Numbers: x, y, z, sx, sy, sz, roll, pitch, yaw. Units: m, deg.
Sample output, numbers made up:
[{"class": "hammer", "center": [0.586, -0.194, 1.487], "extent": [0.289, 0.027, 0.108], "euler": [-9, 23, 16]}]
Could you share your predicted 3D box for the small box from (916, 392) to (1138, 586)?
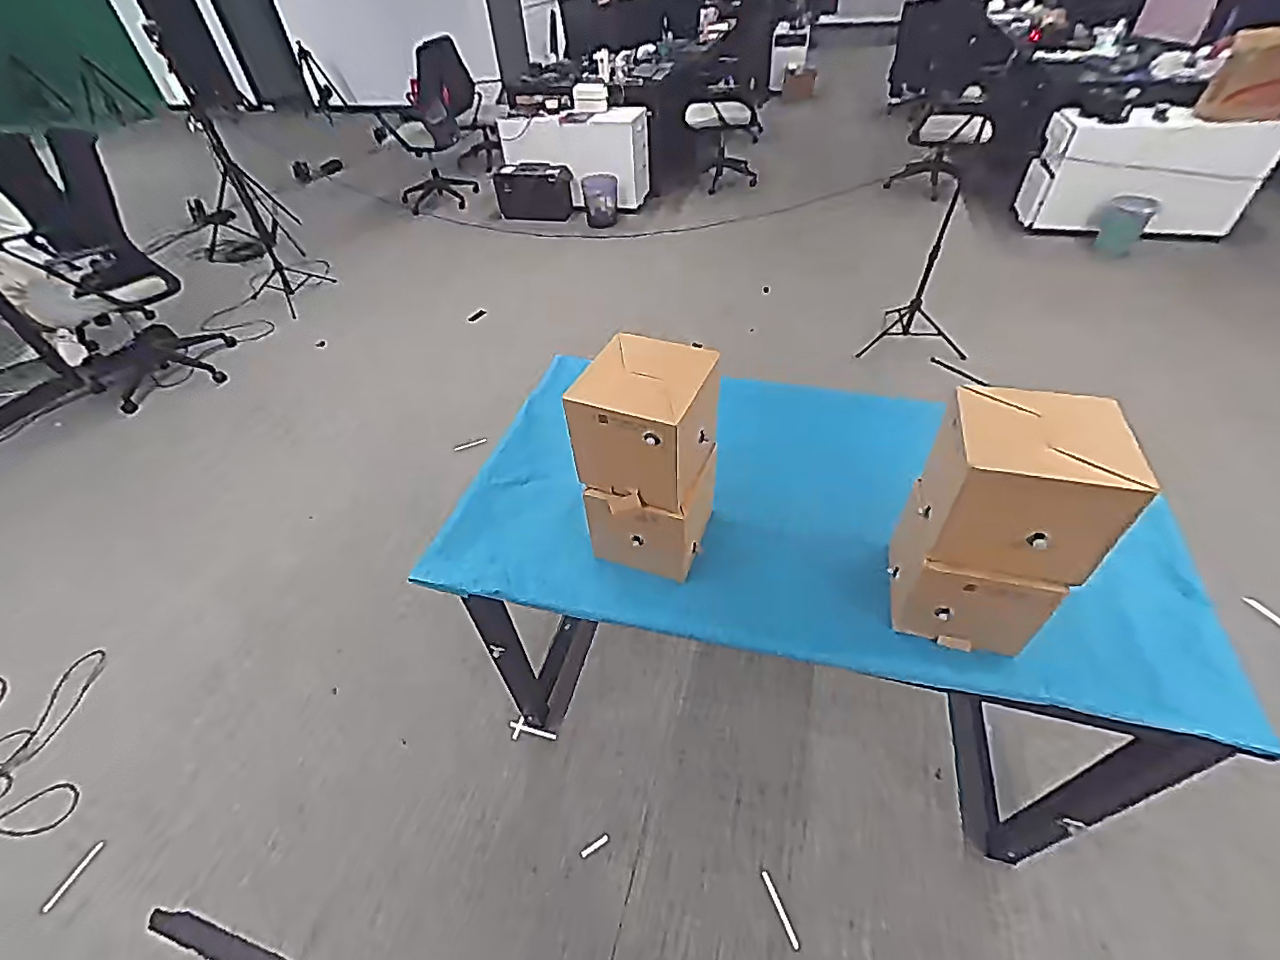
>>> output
[{"class": "small box", "center": [0.469, 0.006, 0.685], "extent": [0.179, 0.176, 0.168], "euler": [9, 44, 16]}]

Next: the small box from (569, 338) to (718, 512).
[{"class": "small box", "center": [0.011, -0.087, 0.805], "extent": [0.168, 0.176, 0.179], "euler": [17, 50, 19]}]

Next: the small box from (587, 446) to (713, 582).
[{"class": "small box", "center": [0.022, 0.038, 0.912], "extent": [0.168, 0.176, 0.179], "euler": [14, 48, 16]}]

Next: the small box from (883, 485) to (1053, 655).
[{"class": "small box", "center": [0.469, 0.126, 0.797], "extent": [0.168, 0.176, 0.179], "euler": [9, 46, 13]}]
